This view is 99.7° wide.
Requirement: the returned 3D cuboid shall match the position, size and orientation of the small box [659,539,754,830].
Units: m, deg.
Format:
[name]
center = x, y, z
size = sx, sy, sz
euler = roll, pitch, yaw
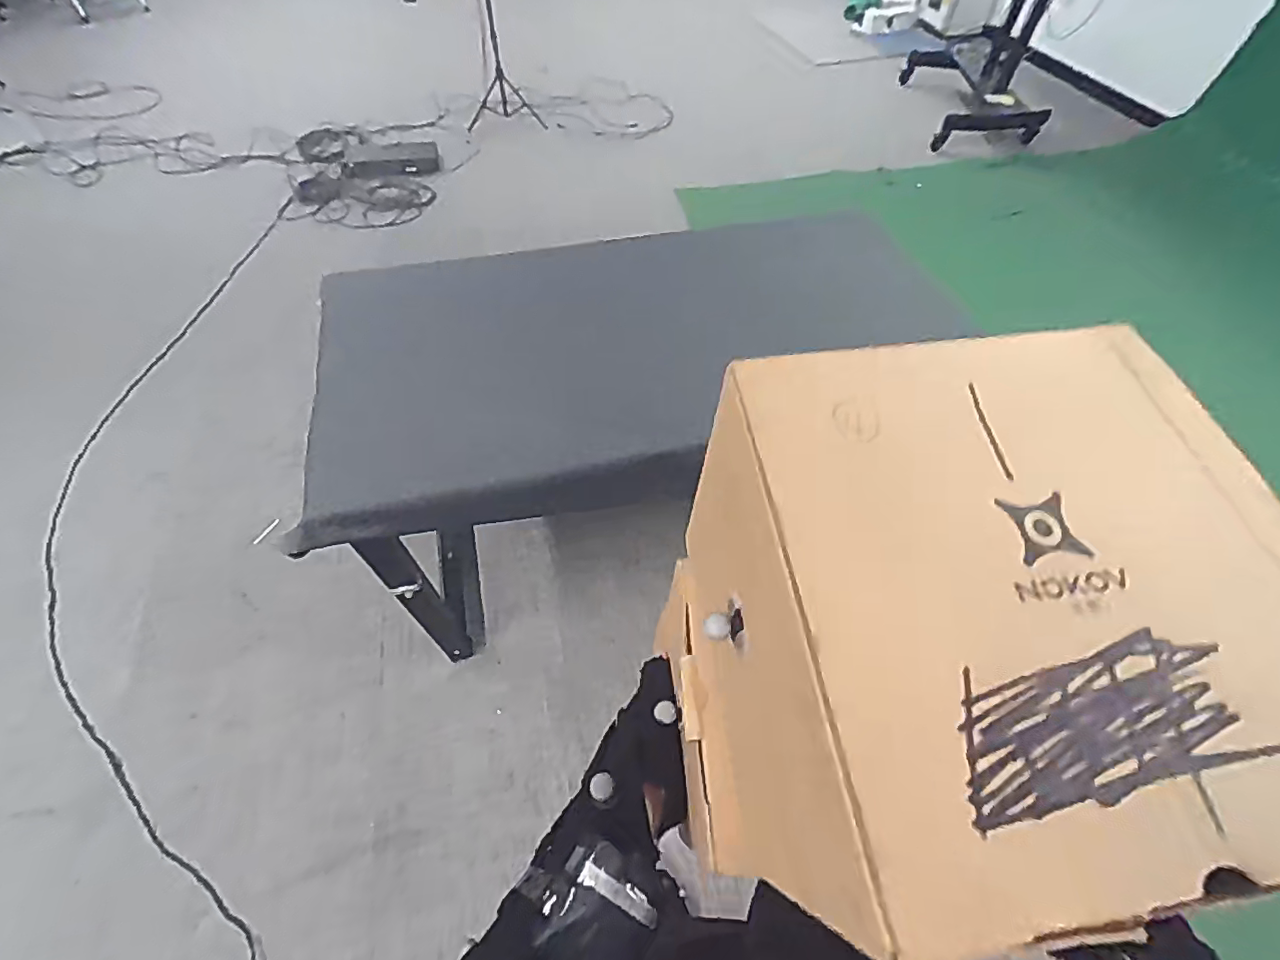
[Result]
[small box]
center = 0.108, 0.144, 0.384
size = 0.179, 0.176, 0.168
euler = -4, 58, -5
